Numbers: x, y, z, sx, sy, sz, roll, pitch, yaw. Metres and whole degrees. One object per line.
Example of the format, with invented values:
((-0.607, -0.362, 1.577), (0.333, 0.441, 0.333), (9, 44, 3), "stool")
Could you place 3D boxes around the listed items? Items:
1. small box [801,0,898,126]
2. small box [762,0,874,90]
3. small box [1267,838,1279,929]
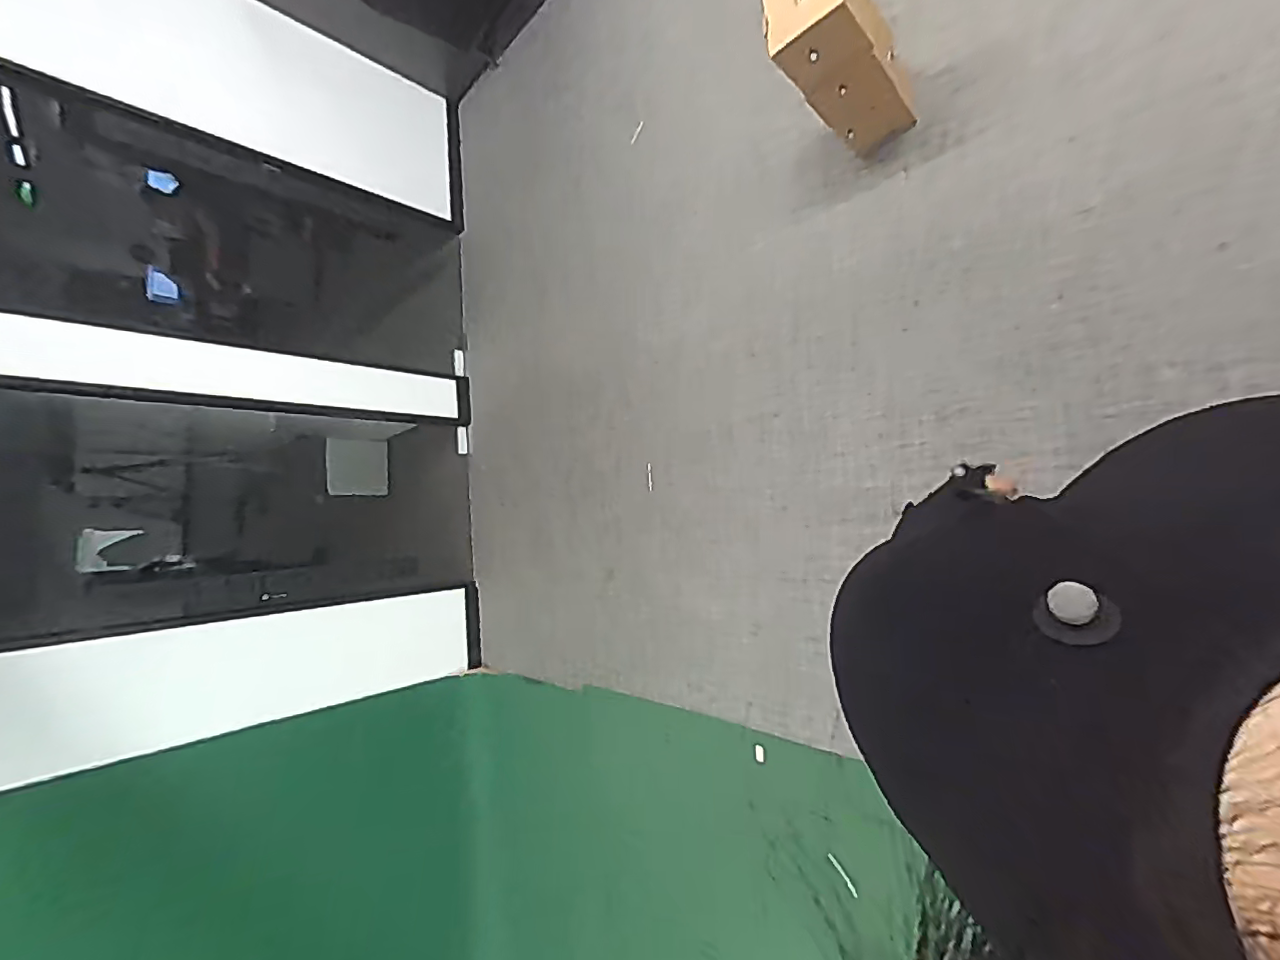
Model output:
((0.511, -1.026, 1.336), (0.179, 0.176, 0.168), (-10, 83, 43), "small box")
((0.399, -1.036, 1.216), (0.179, 0.176, 0.168), (-11, 82, 45), "small box")
((1.113, 0.704, 0.835), (0.168, 0.176, 0.179), (-9, 82, 44), "small box")
